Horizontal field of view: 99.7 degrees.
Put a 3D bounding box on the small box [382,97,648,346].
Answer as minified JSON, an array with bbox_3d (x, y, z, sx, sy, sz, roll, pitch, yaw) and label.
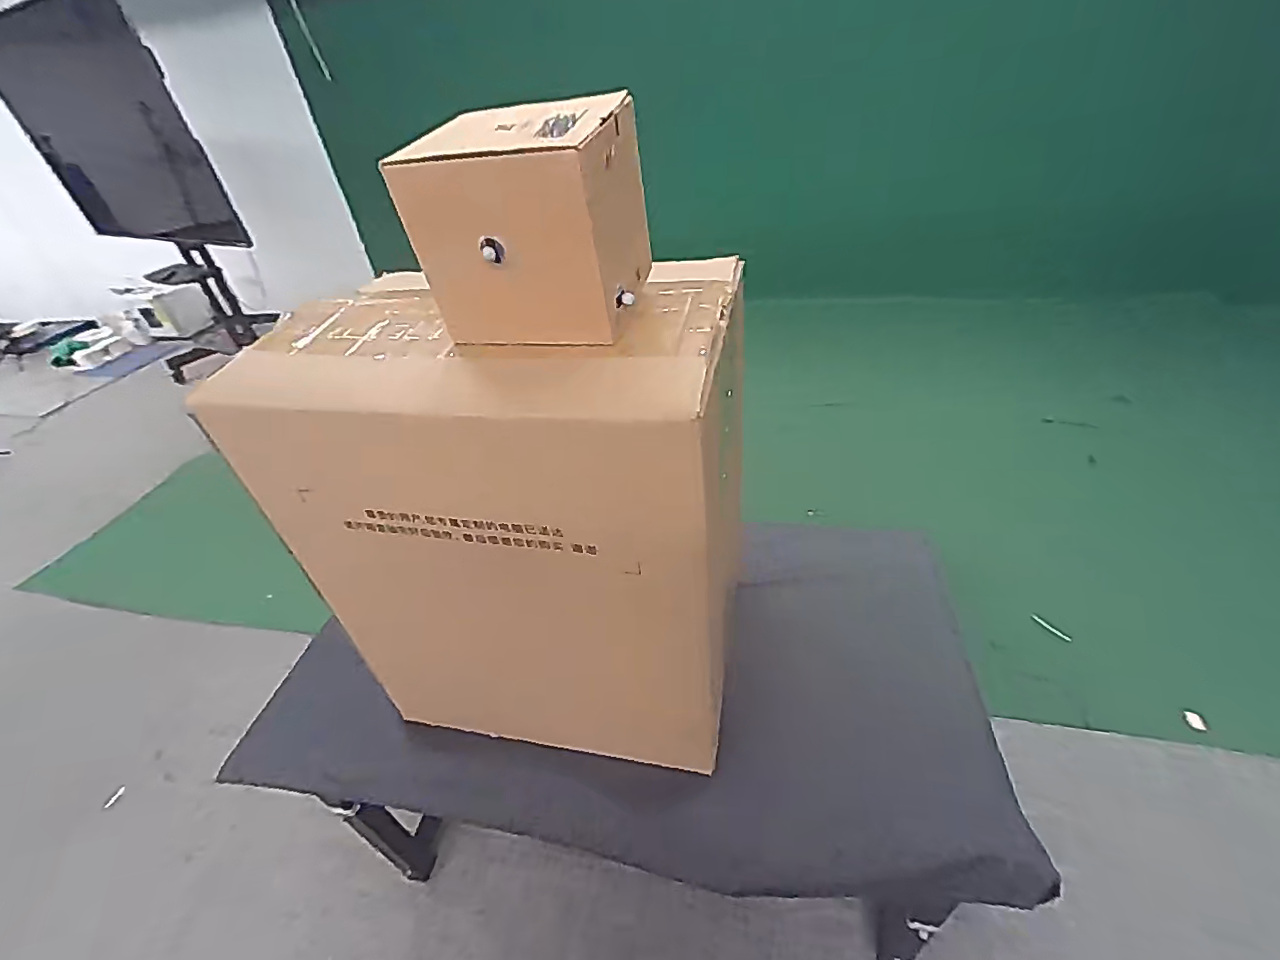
[{"bbox_3d":[-0.098,-0.243,0.525,0.179,0.176,0.168,4,46,15],"label":"small box"}]
